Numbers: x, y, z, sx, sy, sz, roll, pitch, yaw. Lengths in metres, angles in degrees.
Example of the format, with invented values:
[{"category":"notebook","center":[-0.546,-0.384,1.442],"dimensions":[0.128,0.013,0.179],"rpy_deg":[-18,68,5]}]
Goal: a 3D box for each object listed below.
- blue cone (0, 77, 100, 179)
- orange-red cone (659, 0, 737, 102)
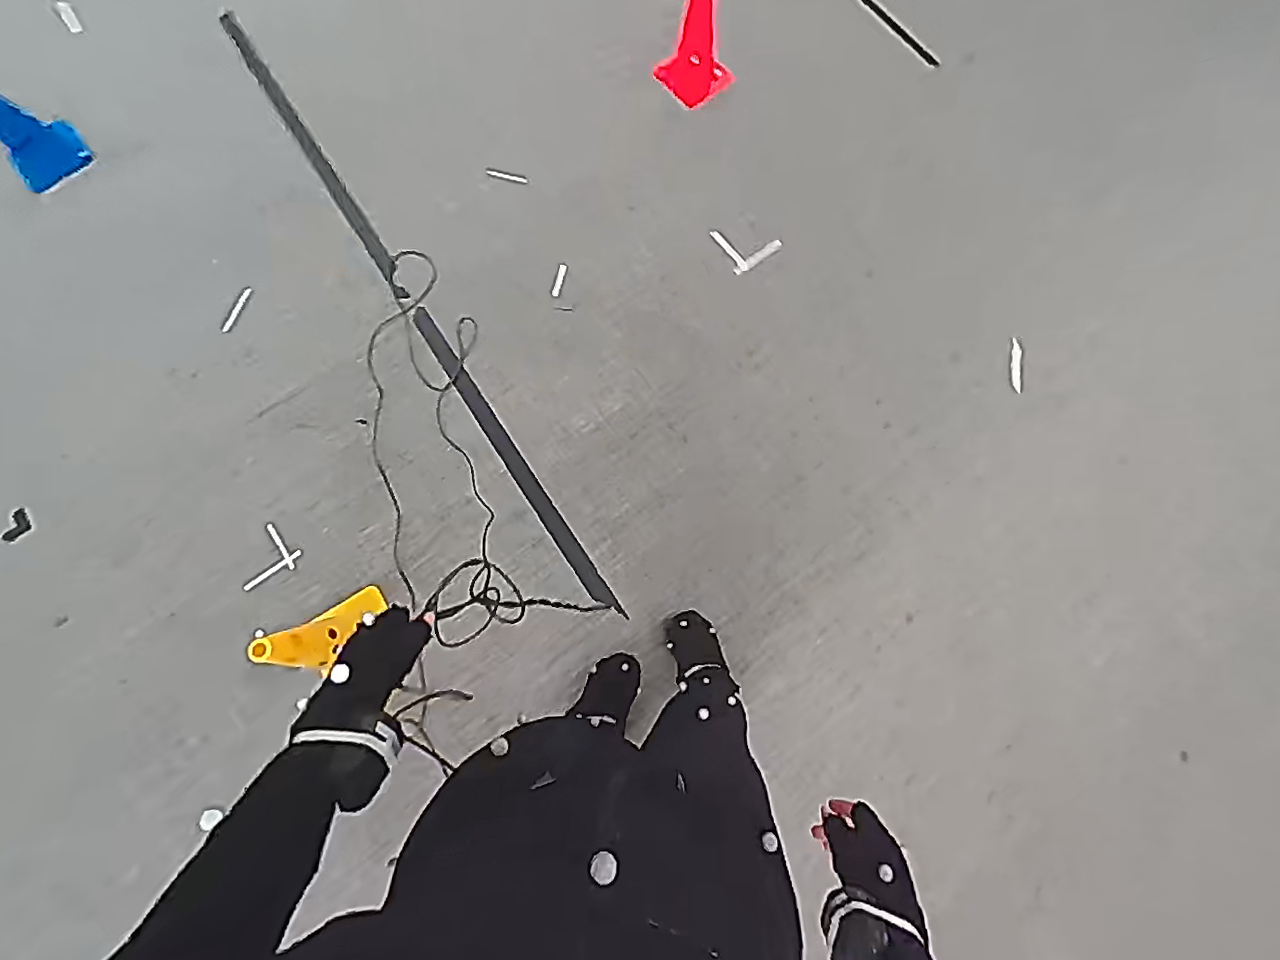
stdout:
[{"category":"blue cone","center":[-1.744,-1.038,1.464],"dimensions":[0.192,0.380,0.193],"rpy_deg":[-39,80,-9]},{"category":"orange-red cone","center":[0.185,-1.353,1.565],"dimensions":[0.198,0.360,0.199],"rpy_deg":[-38,78,-10]}]
